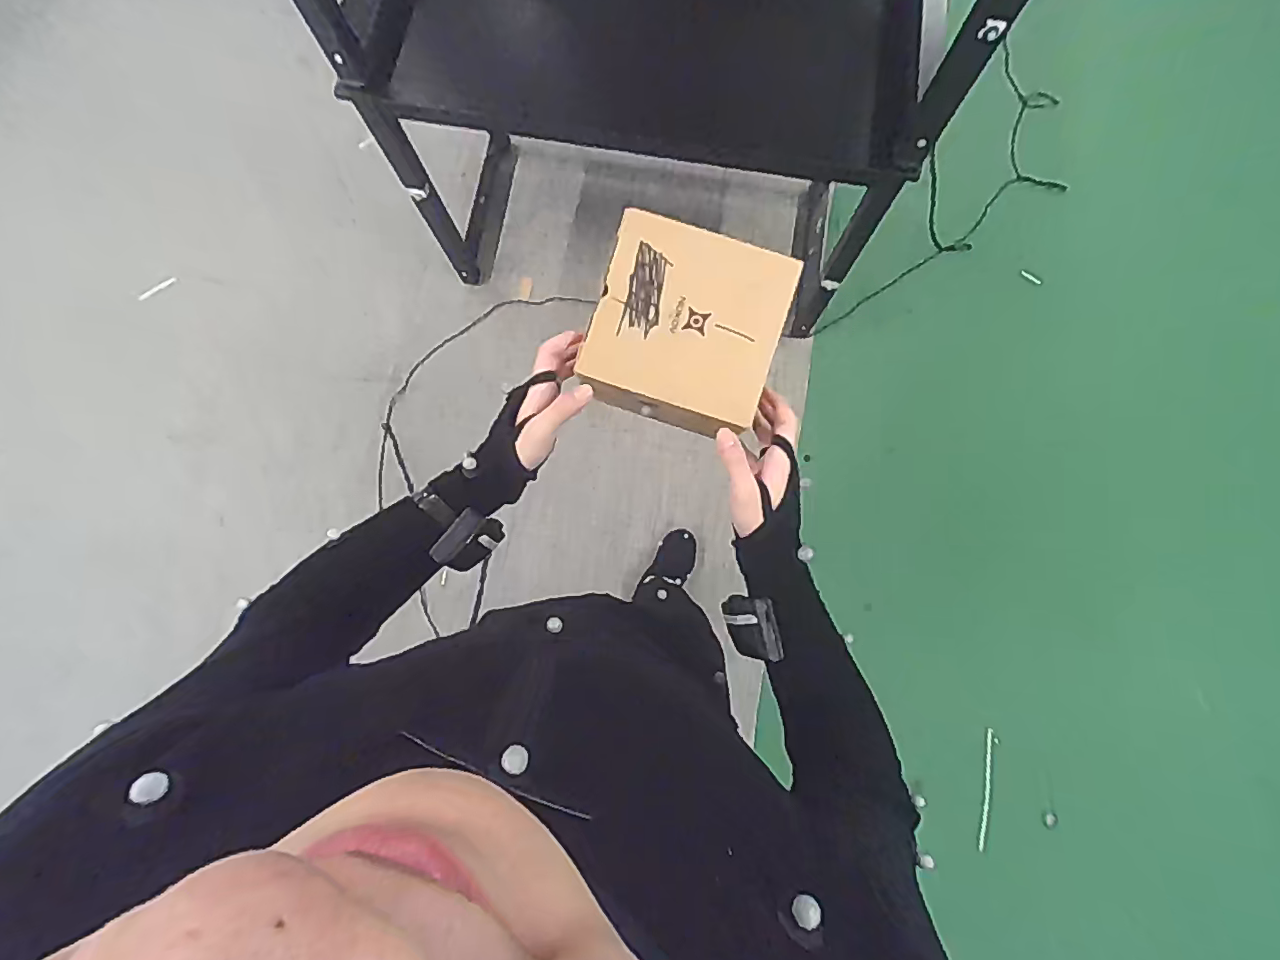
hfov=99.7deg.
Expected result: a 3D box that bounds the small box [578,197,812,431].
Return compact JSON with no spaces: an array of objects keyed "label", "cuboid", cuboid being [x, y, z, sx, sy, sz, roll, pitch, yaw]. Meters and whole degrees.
[{"label":"small box","cuboid":[0.052,-0.156,0.572,0.179,0.176,0.168,18,91,1]}]
